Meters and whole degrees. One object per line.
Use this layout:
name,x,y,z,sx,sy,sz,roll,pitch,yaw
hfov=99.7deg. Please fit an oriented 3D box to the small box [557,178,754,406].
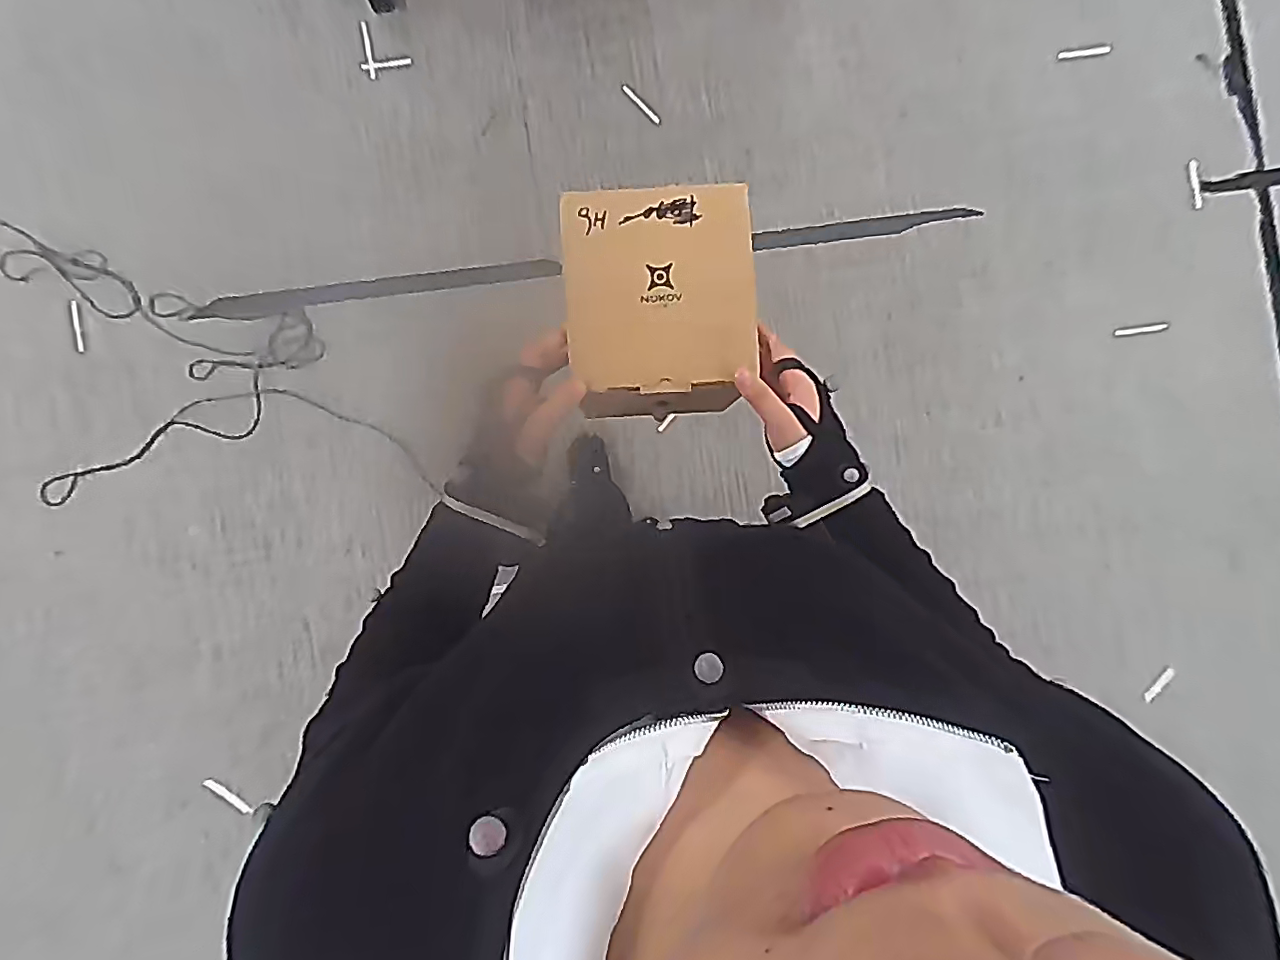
small box,0.014,-0.171,0.548,0.168,0.176,0.179,-4,90,-1
